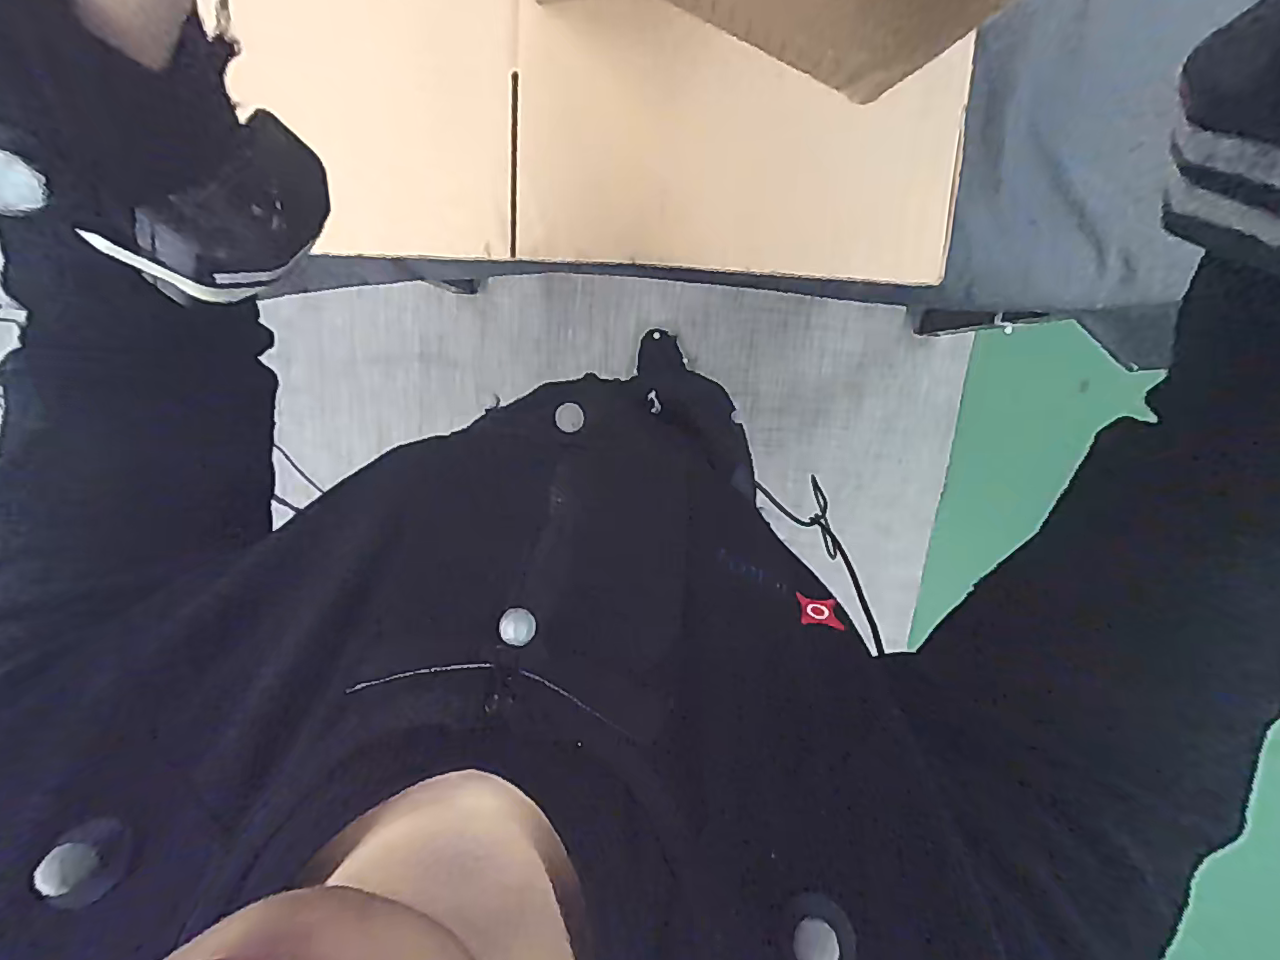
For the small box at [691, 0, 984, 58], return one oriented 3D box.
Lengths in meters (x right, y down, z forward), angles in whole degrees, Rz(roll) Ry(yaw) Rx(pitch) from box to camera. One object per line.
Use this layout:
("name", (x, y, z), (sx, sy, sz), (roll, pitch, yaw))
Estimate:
("small box", (0.036, -0.207, 0.086), (0.179, 0.176, 0.168), (23, 115, -5))
